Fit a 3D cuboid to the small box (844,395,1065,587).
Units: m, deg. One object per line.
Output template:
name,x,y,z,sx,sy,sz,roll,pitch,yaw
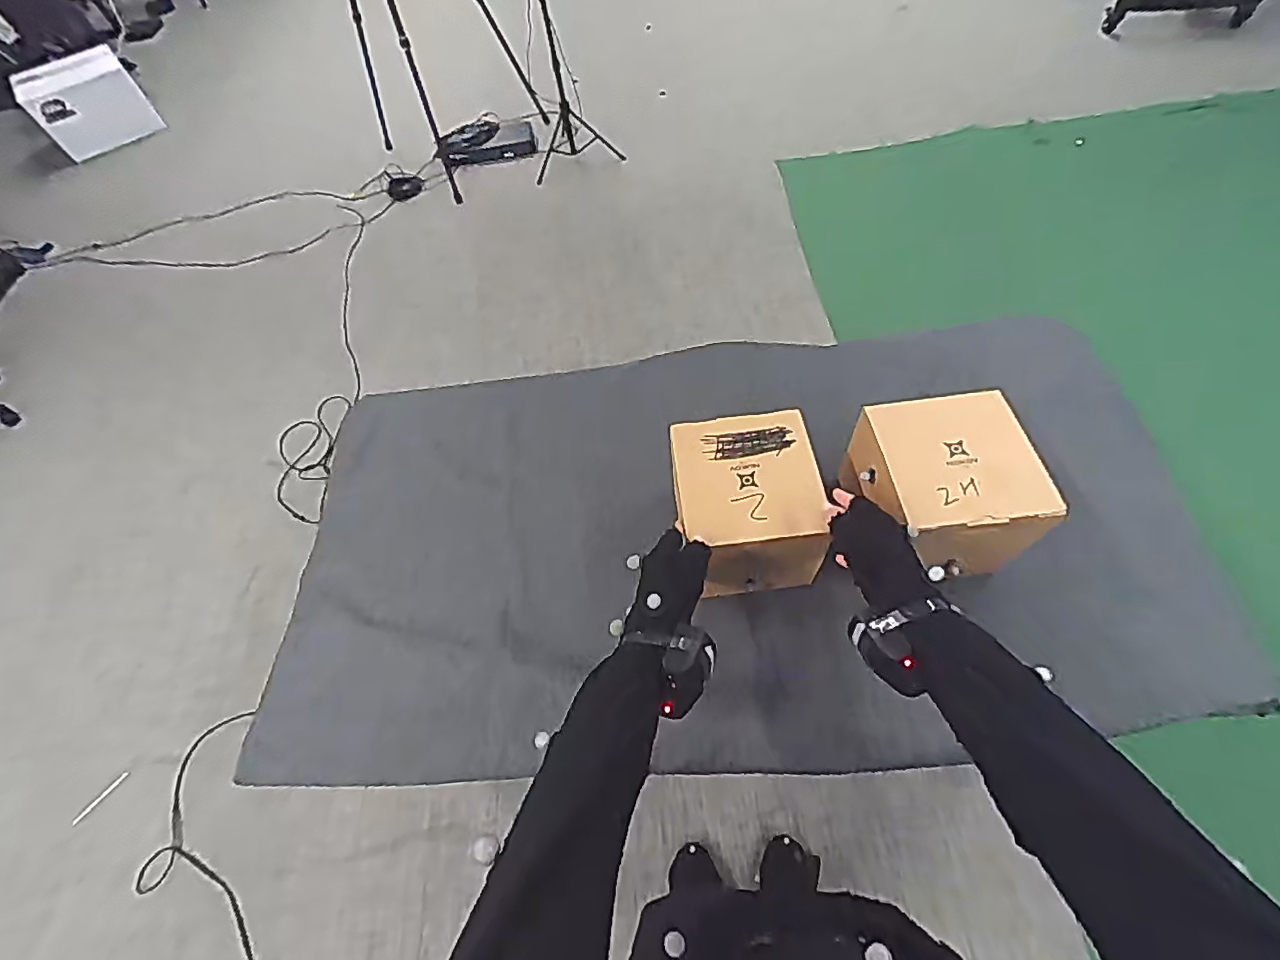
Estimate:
small box,0.375,0.019,0.689,0.168,0.176,0.179,-7,57,4
